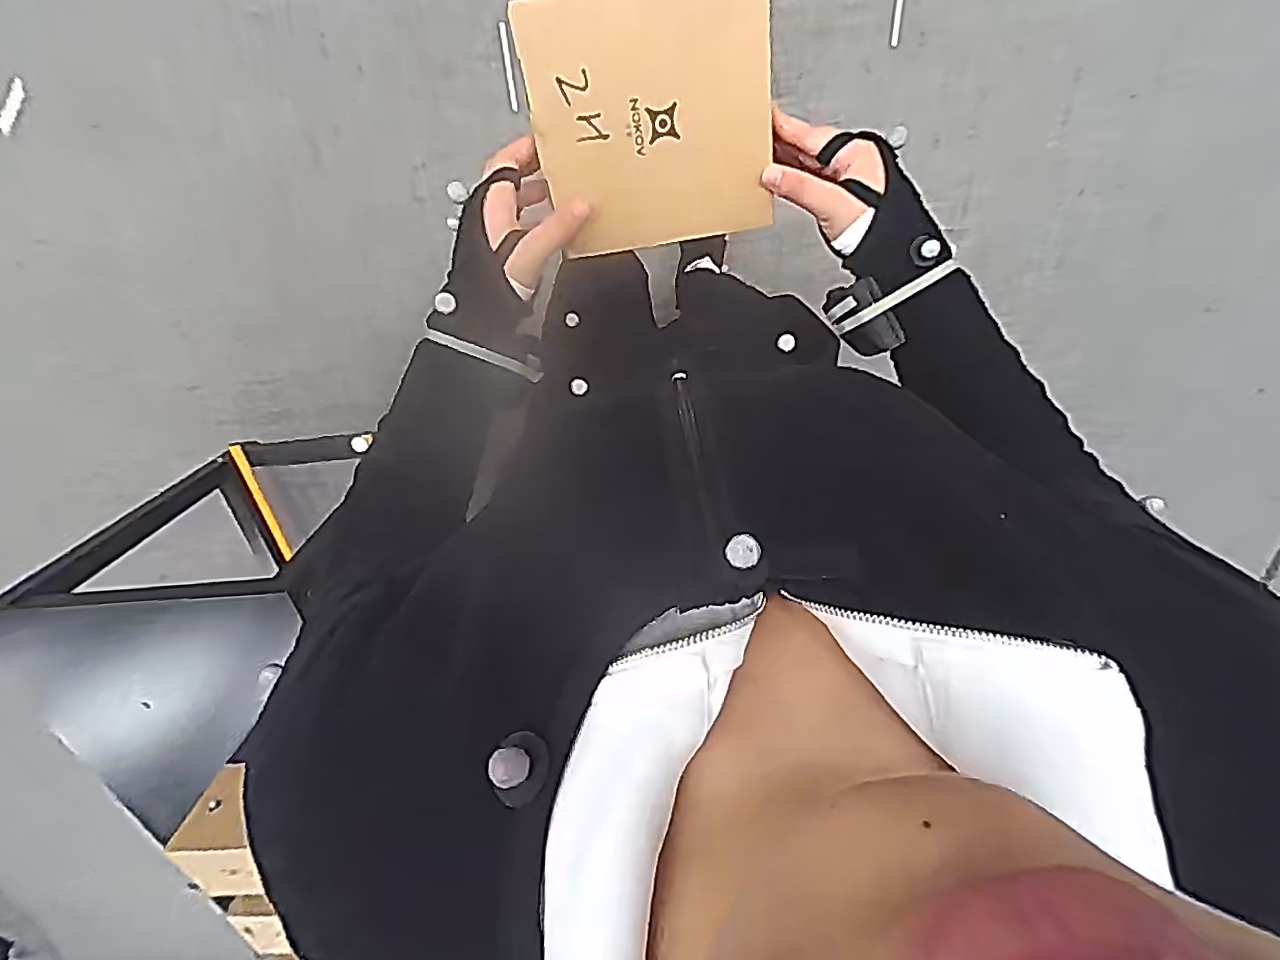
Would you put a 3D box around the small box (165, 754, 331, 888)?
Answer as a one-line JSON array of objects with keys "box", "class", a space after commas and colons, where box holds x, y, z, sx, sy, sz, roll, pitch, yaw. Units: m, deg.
[{"box": [-0.758, 0.669, 1.070, 0.179, 0.176, 0.168, -5, 120, 2], "class": "small box"}]

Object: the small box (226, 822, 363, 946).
[{"box": [-0.737, 0.878, 1.184, 0.179, 0.176, 0.168, -4, 118, 2], "class": "small box"}]
